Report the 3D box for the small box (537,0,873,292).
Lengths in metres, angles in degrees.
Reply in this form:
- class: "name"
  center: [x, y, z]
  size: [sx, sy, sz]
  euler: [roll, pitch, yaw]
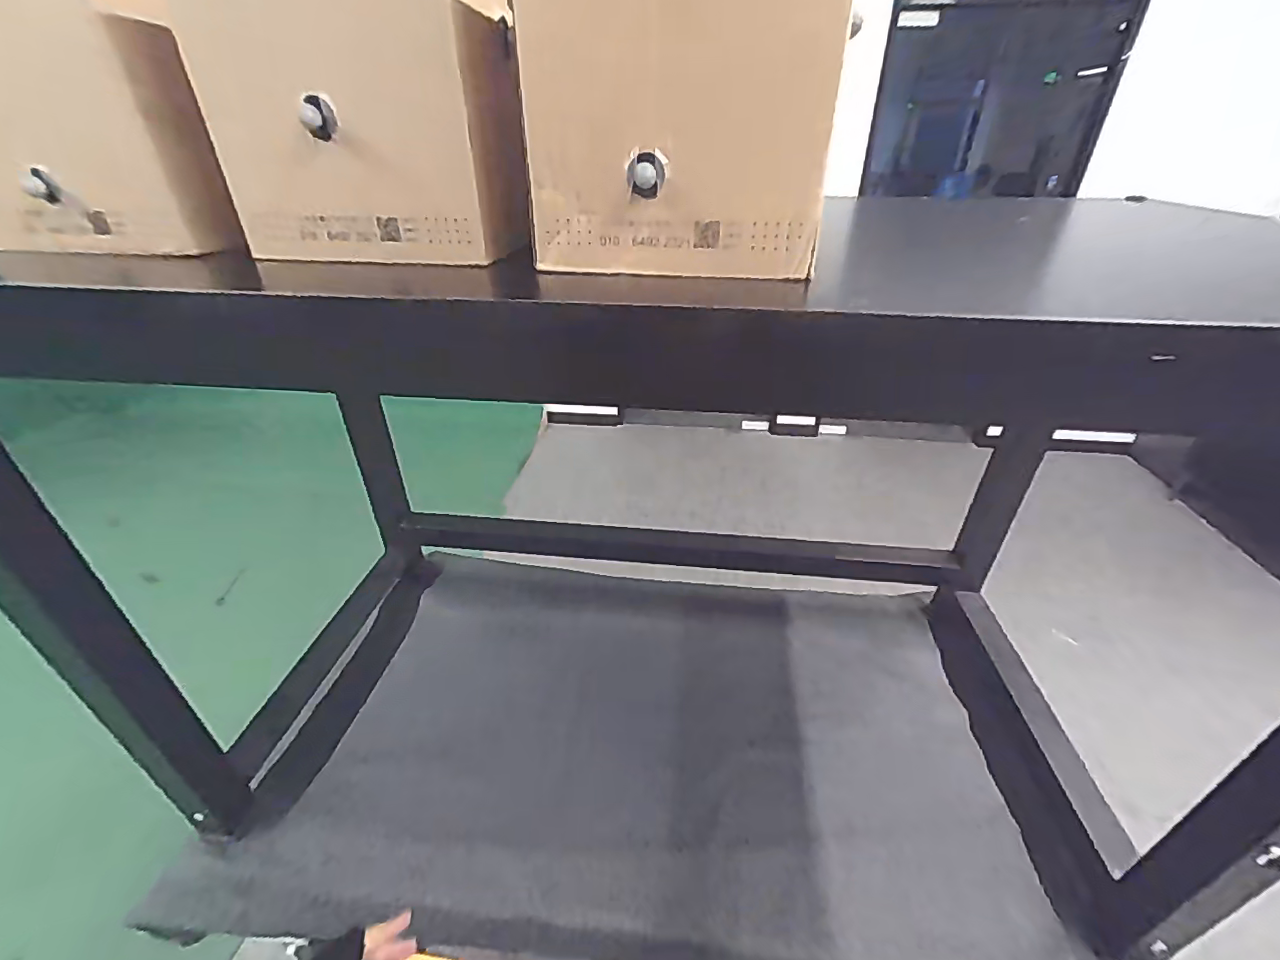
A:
- class: "small box"
  center: [0.036, -0.230, 0.348]
  size: [0.168, 0.176, 0.179]
  euler: [5, 33, 6]
